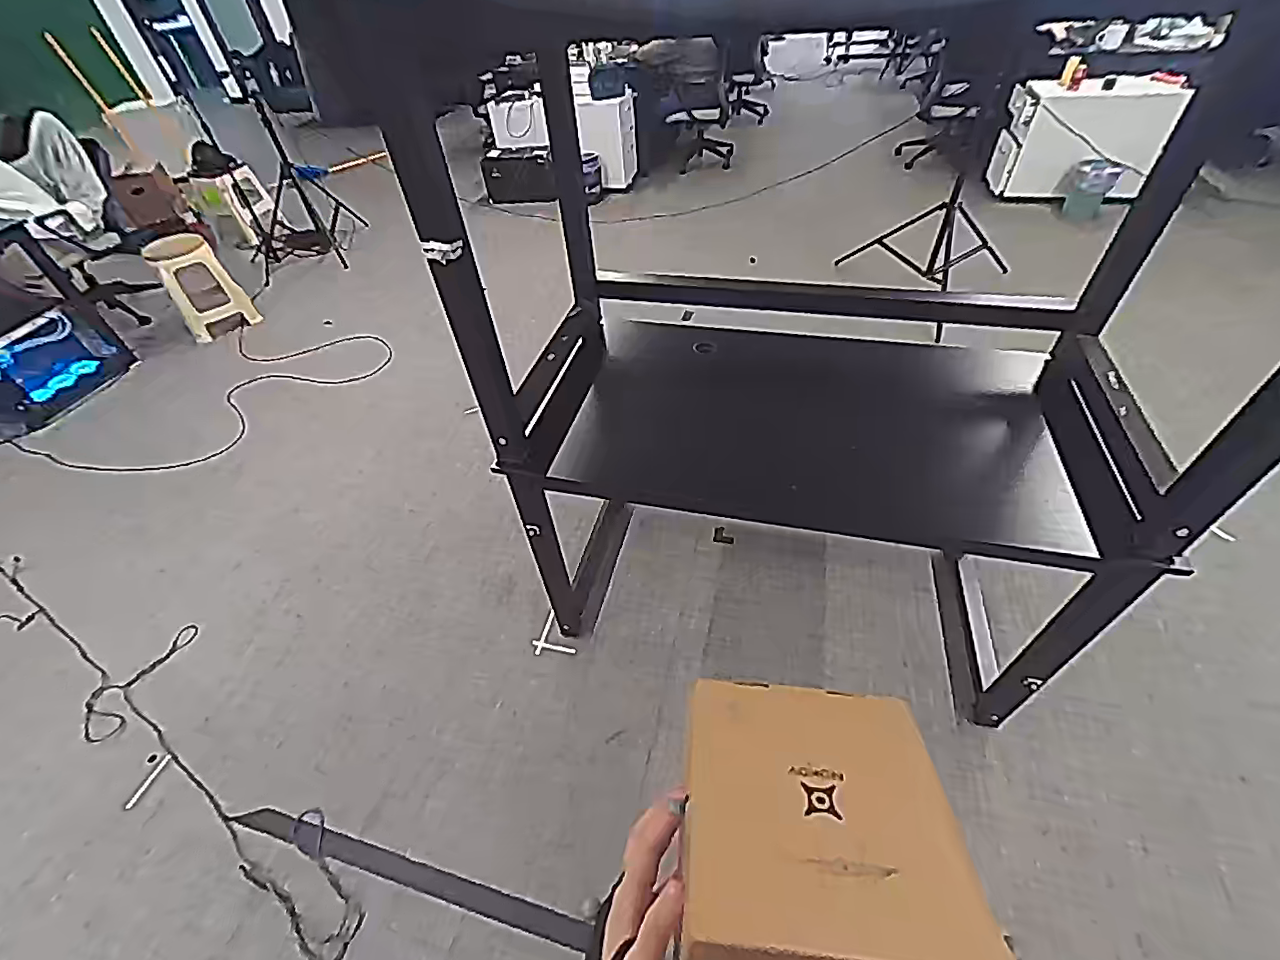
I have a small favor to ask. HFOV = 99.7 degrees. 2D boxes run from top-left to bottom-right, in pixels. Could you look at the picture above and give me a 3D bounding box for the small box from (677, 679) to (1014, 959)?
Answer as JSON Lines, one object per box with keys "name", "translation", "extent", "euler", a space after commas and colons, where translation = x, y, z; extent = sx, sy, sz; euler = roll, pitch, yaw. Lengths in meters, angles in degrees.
{"name": "small box", "translation": [0.114, 0.275, 0.383], "extent": [0.168, 0.176, 0.179], "euler": [4, 28, 5]}
